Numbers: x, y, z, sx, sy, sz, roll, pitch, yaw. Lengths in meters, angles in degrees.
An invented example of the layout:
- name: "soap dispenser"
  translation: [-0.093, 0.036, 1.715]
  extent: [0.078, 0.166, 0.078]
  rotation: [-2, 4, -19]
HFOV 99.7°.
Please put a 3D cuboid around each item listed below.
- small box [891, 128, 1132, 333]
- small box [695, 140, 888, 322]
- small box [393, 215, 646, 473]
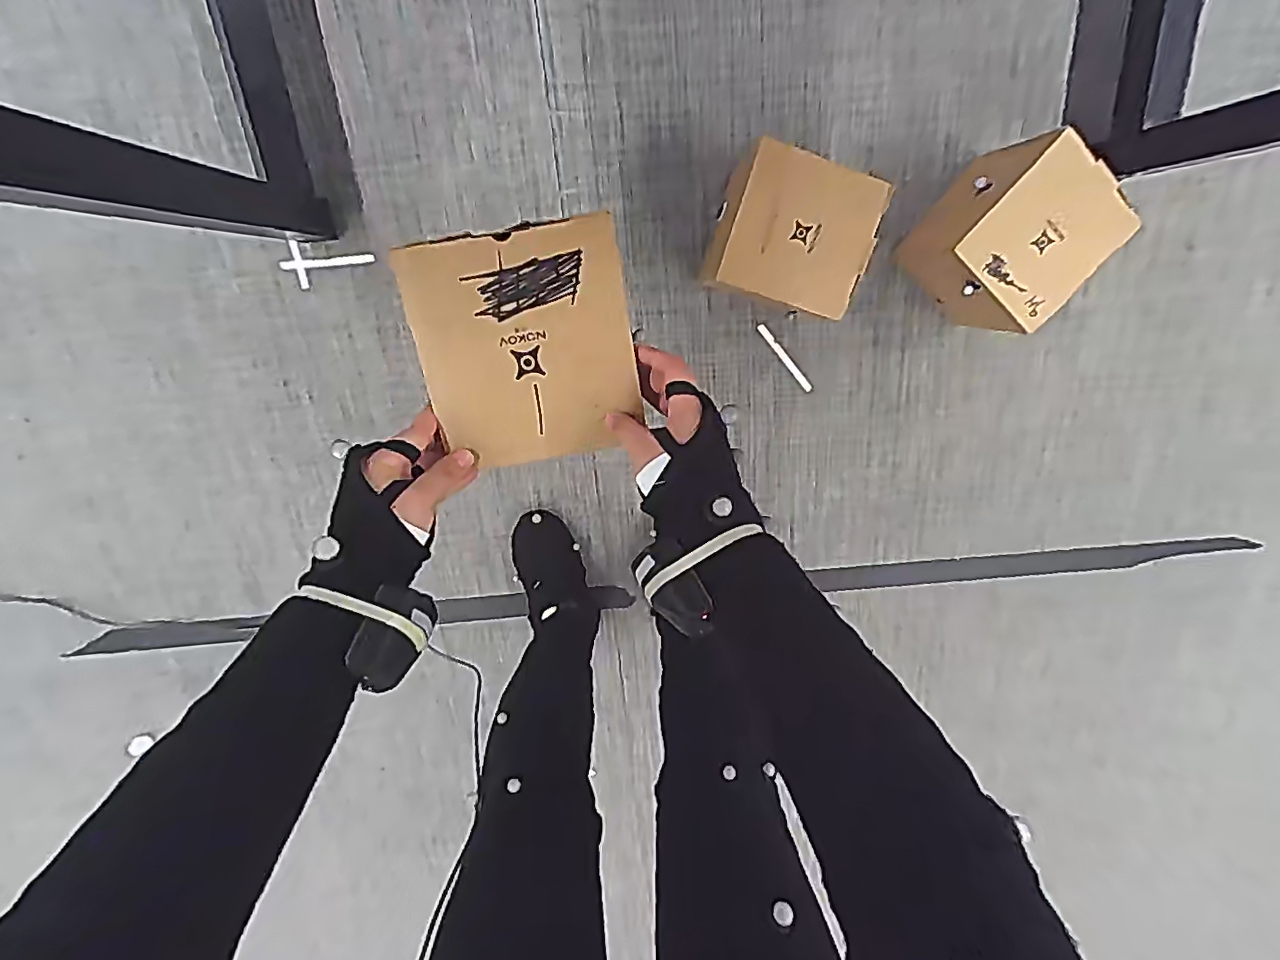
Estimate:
- name: "small box"
  translation: [0.492, -0.329, 0.744]
  extent: [0.168, 0.176, 0.179]
  rotation: [37, 104, -14]
- name: "small box"
  translation: [0.188, -0.324, 0.732]
  extent: [0.179, 0.176, 0.168]
  rotation: [15, 108, -7]
- name: "small box"
  translation: [-0.093, -0.124, 0.493]
  extent: [0.168, 0.176, 0.179]
  rotation: [-10, 109, 0]
